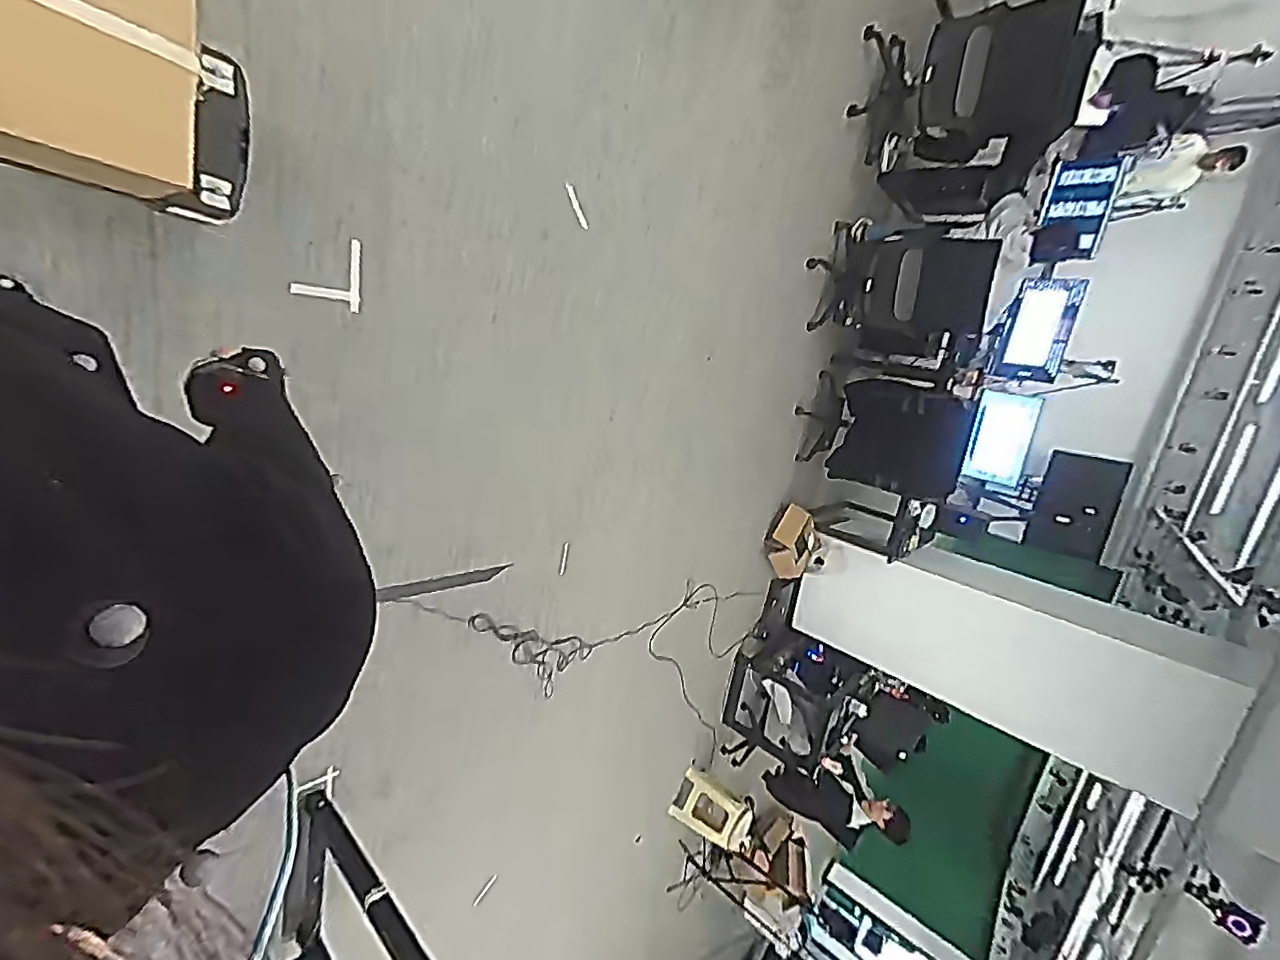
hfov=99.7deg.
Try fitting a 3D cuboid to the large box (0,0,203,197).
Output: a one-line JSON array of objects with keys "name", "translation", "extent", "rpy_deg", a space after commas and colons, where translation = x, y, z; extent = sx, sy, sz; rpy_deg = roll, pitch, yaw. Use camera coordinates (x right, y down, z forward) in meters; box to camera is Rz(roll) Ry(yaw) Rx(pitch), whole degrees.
[{"name": "large box", "translation": [-0.819, -0.580, 0.663], "extent": [0.408, 0.320, 0.320], "rpy_deg": [-2, 107, -49]}]

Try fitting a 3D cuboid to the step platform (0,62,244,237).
[{"name": "step platform", "translation": [-1.010, -0.628, 0.800], "extent": [0.684, 0.204, 0.286], "rpy_deg": [6, 101, -50]}]
